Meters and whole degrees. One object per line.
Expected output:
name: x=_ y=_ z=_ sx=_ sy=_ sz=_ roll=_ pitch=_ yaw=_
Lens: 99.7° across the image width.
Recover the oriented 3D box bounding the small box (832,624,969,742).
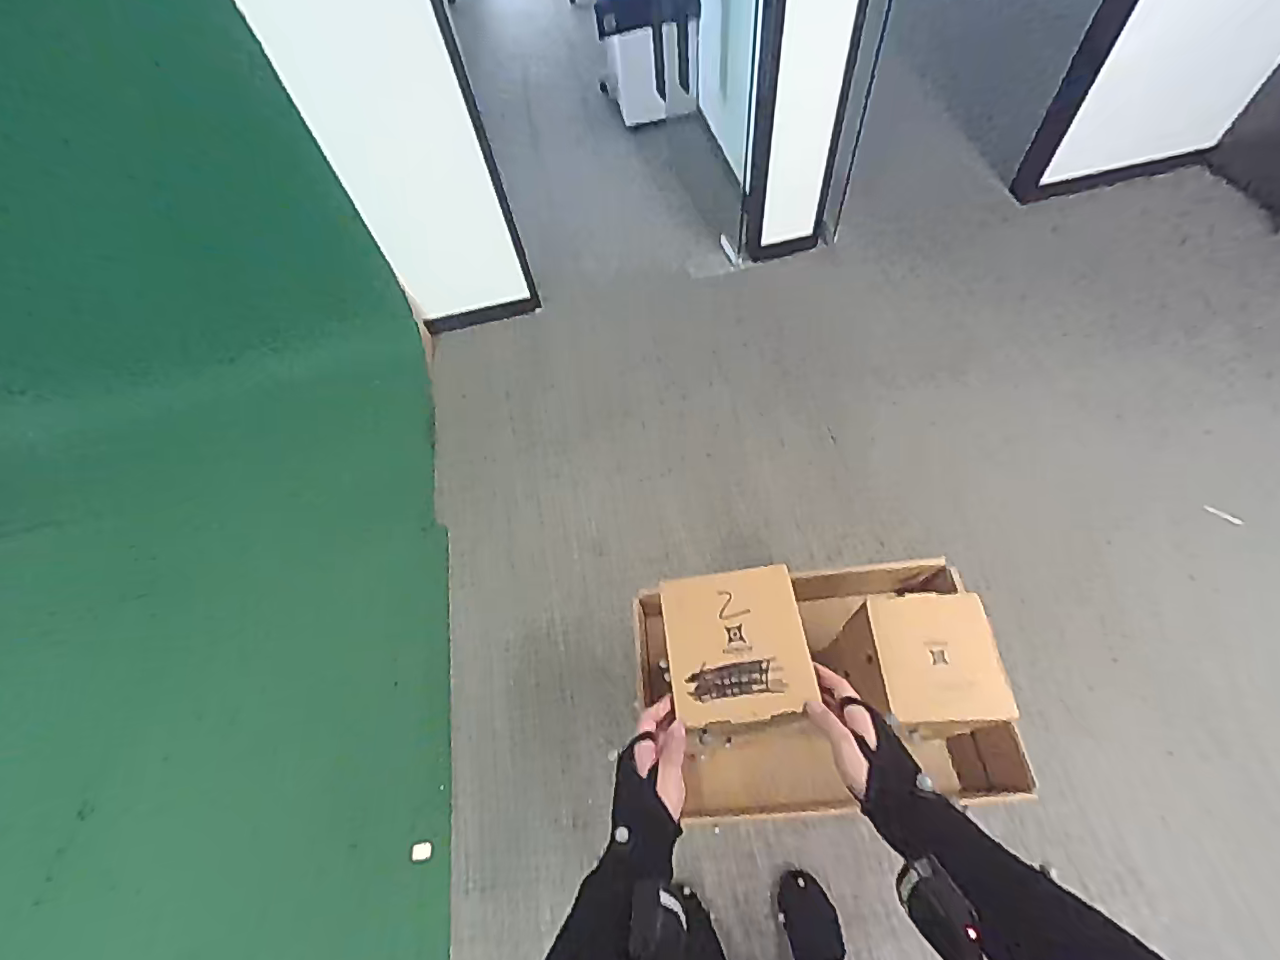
small box: x=0.454 y=0.365 z=0.969 sx=0.168 sy=0.176 sz=0.179 roll=-3 pitch=60 yaw=6

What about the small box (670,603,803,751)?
small box: x=0.141 y=0.312 z=0.845 sx=0.168 sy=0.176 sz=0.179 roll=-9 pitch=59 yaw=2

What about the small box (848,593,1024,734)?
small box: x=0.433 y=0.285 z=0.828 sx=0.168 sy=0.176 sz=0.179 roll=-3 pitch=60 yaw=5
